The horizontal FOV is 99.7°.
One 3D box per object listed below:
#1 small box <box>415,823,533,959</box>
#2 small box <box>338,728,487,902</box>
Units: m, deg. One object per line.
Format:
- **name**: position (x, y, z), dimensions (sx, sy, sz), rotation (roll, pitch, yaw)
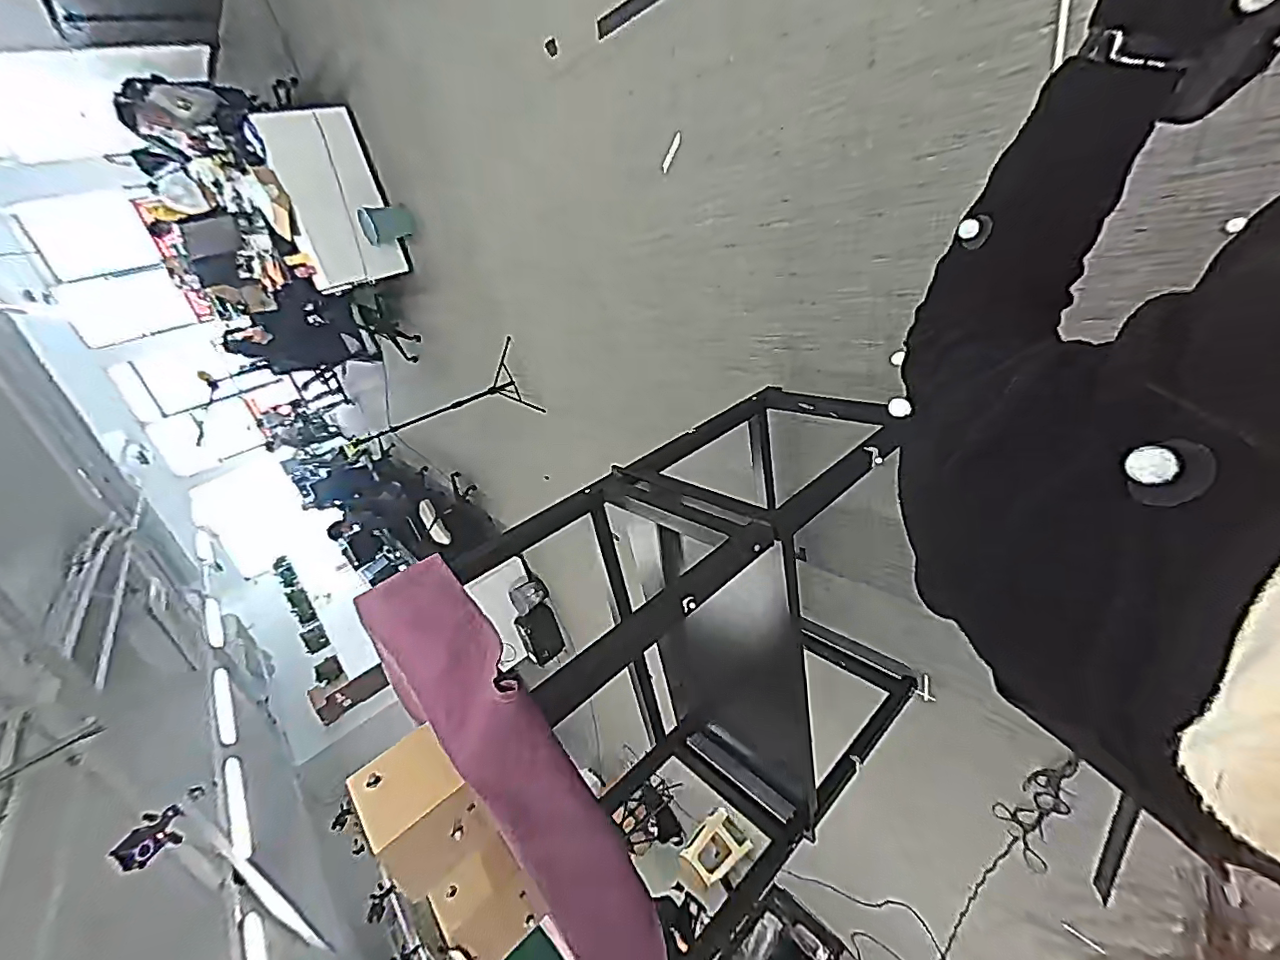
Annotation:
- **small box**: position (-0.342, 0.863, 1.129), dimensions (0.179, 0.176, 0.168), rotation (15, 128, 51)
- **small box**: position (-0.400, 0.580, 0.965), dimensions (0.179, 0.176, 0.168), rotation (24, 135, 45)
